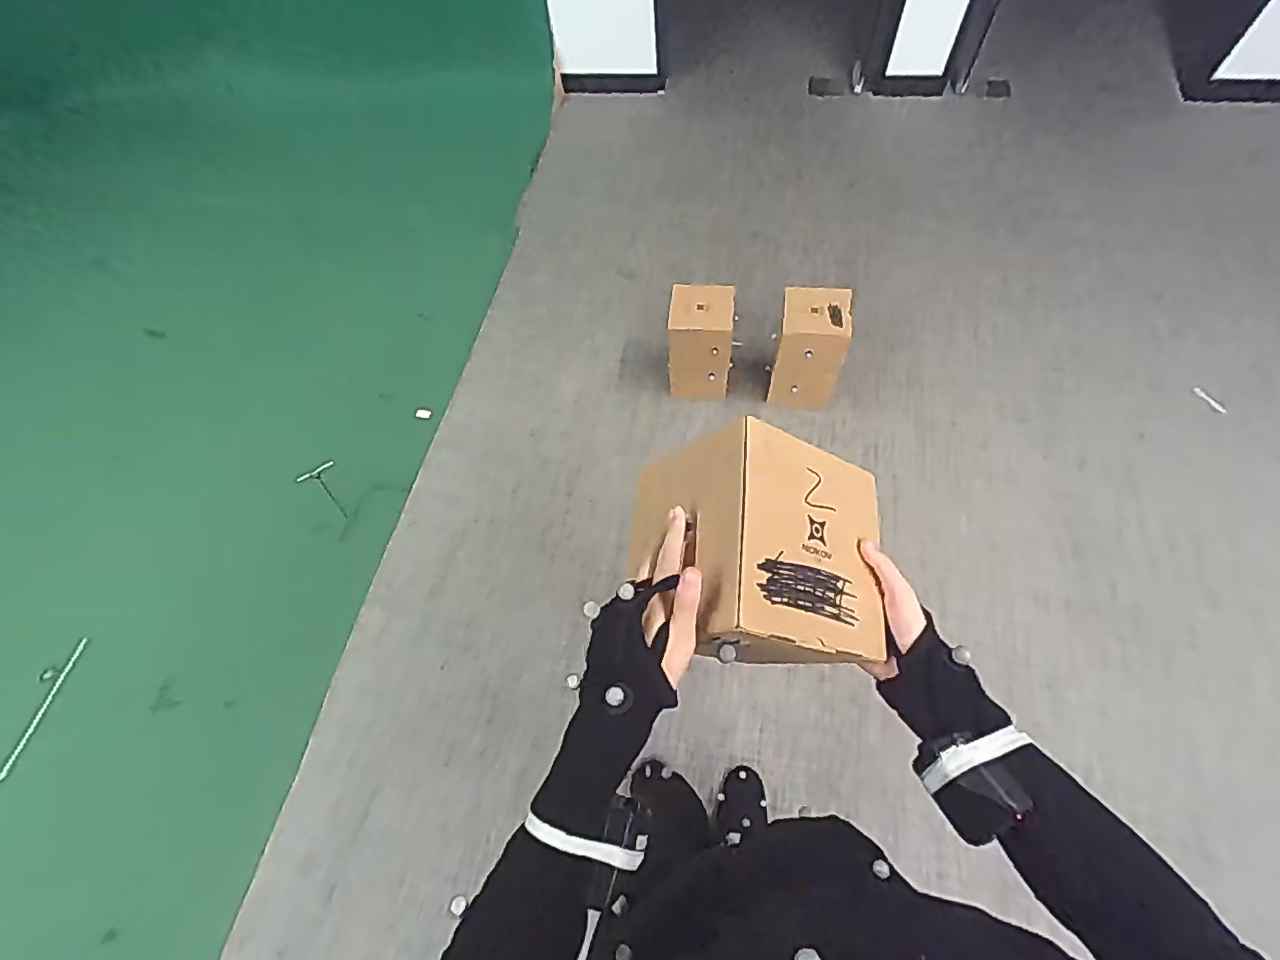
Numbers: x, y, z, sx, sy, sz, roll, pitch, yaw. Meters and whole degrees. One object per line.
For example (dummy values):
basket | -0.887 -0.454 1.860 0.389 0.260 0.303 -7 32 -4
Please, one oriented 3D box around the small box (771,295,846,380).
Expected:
small box | 0.470 -0.397 1.522 0.179 0.176 0.168 5 63 9

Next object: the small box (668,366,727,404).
small box | 0.186 -0.353 1.715 0.179 0.176 0.168 4 64 9

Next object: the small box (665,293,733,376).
small box | 0.172 -0.417 1.565 0.179 0.176 0.168 4 63 9
